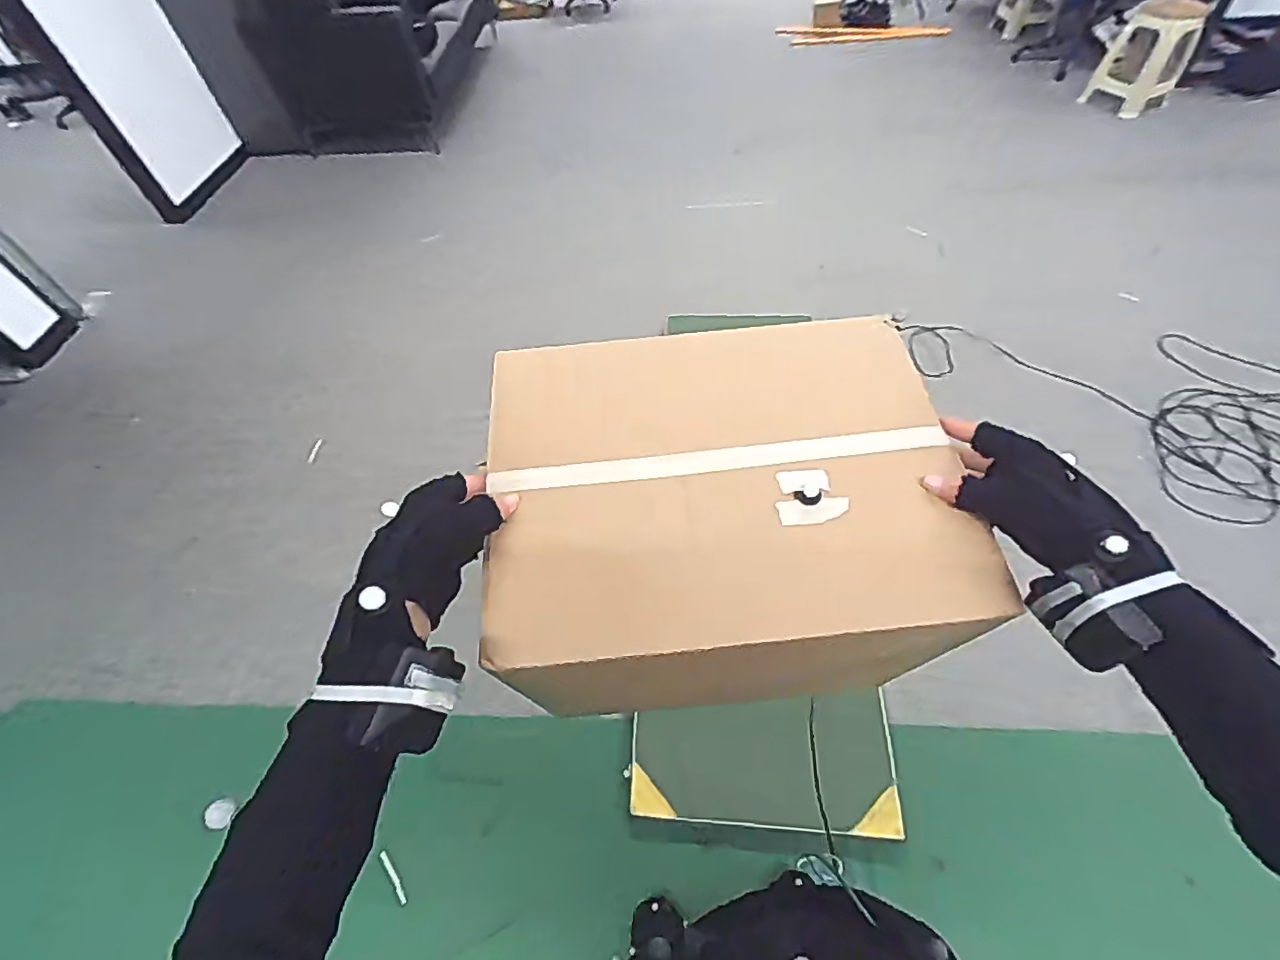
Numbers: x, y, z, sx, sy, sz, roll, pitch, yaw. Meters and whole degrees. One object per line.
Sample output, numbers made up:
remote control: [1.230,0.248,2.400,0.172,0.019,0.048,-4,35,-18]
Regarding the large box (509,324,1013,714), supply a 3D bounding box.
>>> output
large box: [0.083,0.061,0.617,0.408,0.320,0.320,-6,61,-1]
